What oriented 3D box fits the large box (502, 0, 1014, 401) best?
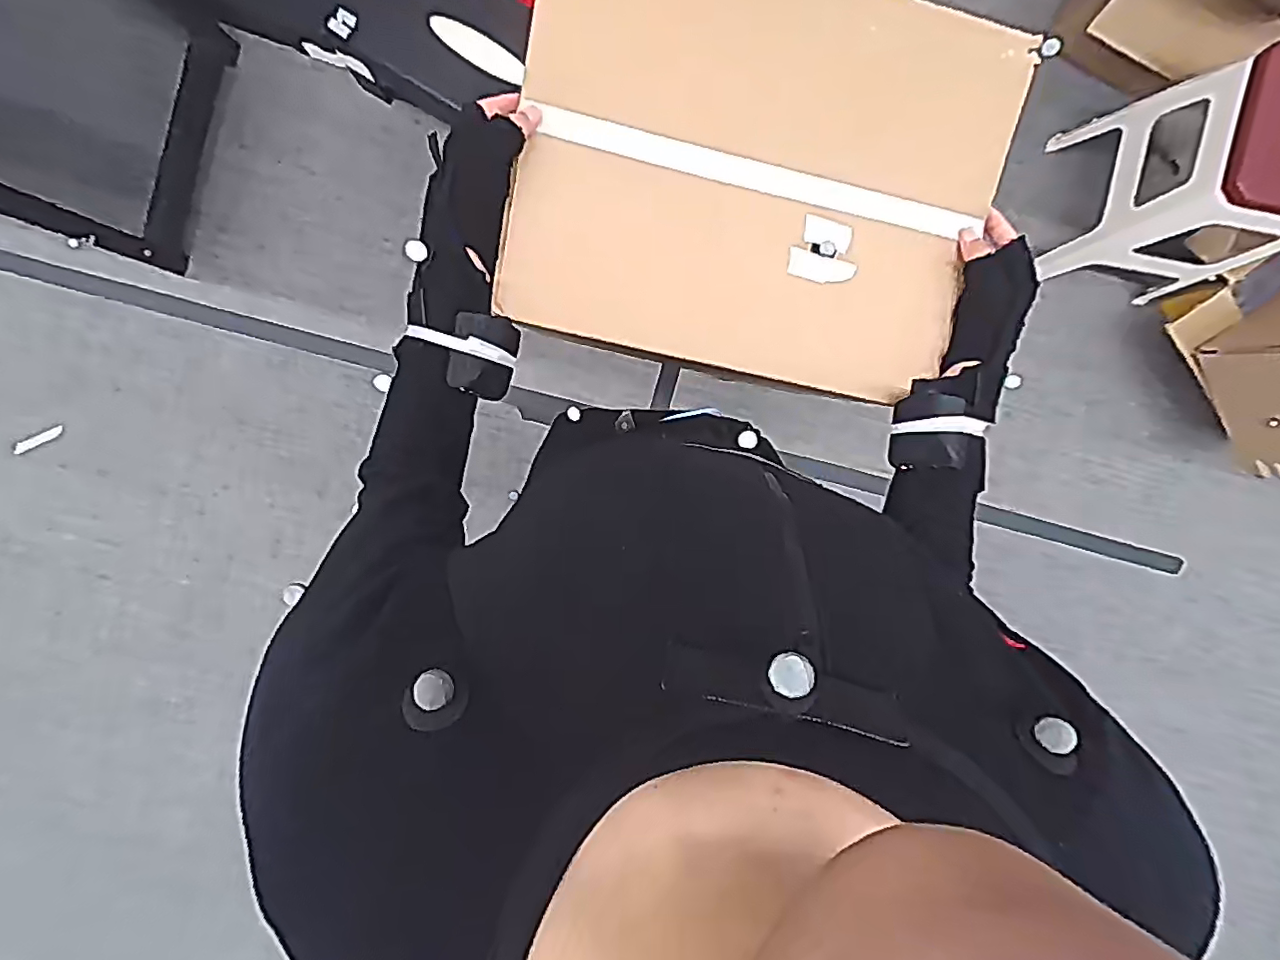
[{"bbox_3d":[0.085,-0.286,0.610,0.408,0.320,0.320,11,102,-8],"label":"large box"}]
